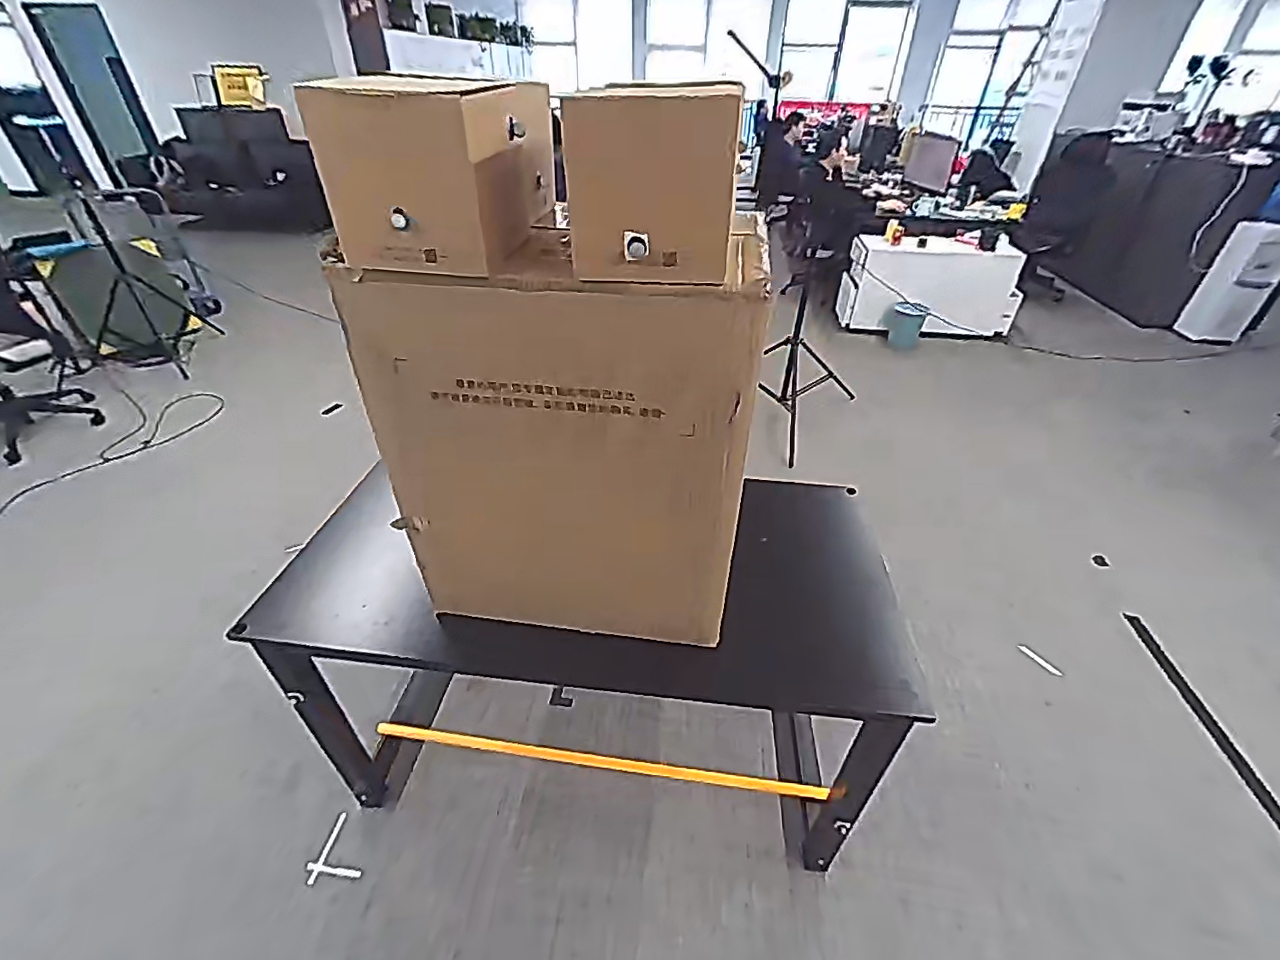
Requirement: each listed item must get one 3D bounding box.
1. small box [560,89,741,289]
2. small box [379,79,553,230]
[{"bbox_3d":[0.016,-0.322,0.595,0.168,0.176,0.179,1,38,4],"label":"small box"},{"bbox_3d":[-0.231,-0.463,0.771,0.179,0.176,0.168,7,36,5],"label":"small box"}]
